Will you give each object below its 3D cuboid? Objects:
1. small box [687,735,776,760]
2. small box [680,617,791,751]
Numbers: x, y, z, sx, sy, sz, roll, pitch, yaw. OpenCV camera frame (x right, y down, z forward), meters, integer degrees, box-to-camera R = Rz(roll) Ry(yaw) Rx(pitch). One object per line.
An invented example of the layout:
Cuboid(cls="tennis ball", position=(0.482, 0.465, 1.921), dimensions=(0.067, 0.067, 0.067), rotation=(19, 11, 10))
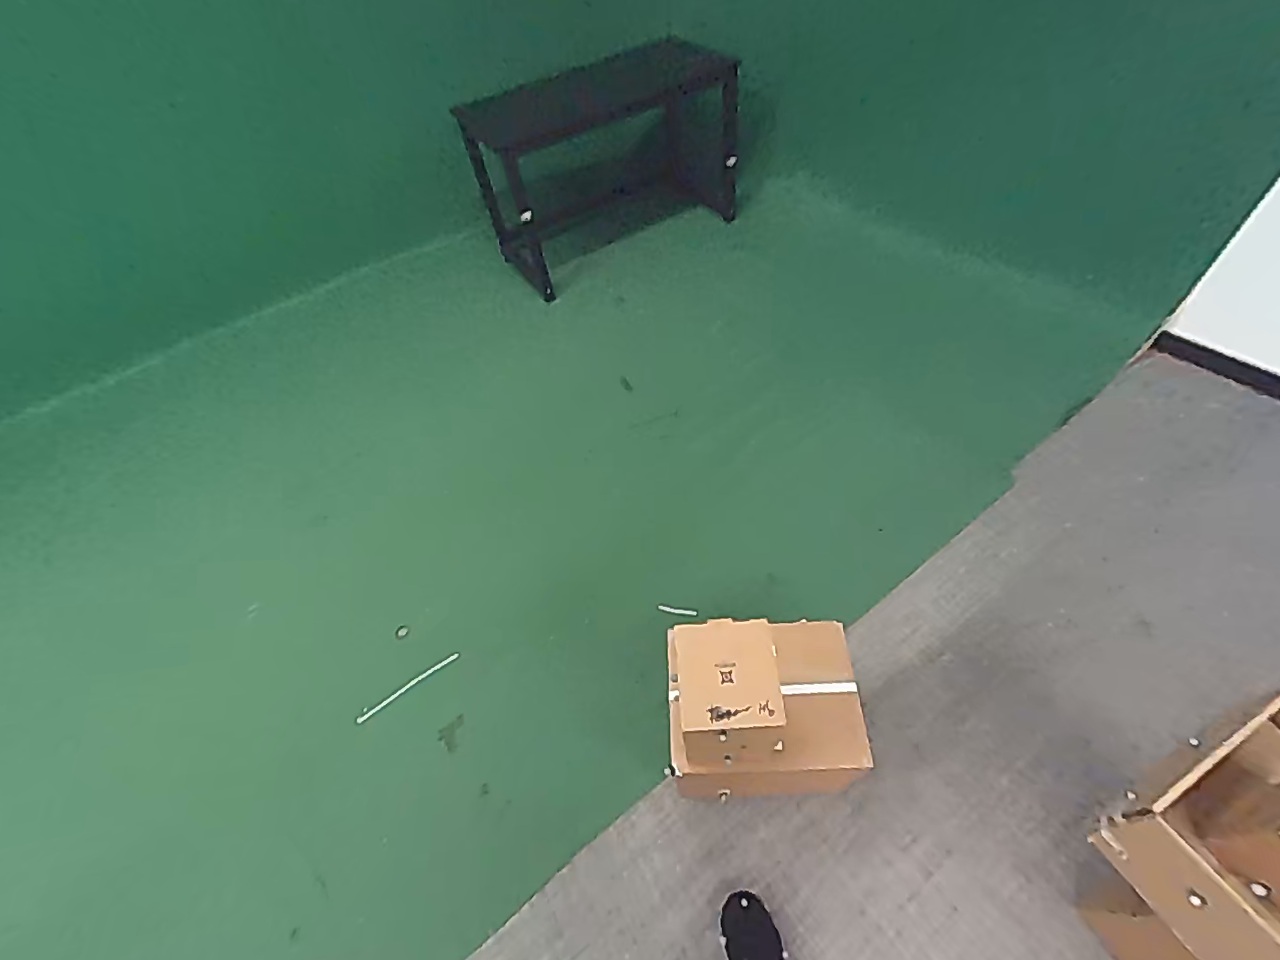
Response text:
Cuboid(cls="small box", position=(0.174, 0.448, 1.081), dimensions=(0.168, 0.176, 0.179), rotation=(-5, 53, 4))
Cuboid(cls="small box", position=(0.157, 0.358, 0.945), dimensions=(0.168, 0.176, 0.179), rotation=(-5, 52, 4))
